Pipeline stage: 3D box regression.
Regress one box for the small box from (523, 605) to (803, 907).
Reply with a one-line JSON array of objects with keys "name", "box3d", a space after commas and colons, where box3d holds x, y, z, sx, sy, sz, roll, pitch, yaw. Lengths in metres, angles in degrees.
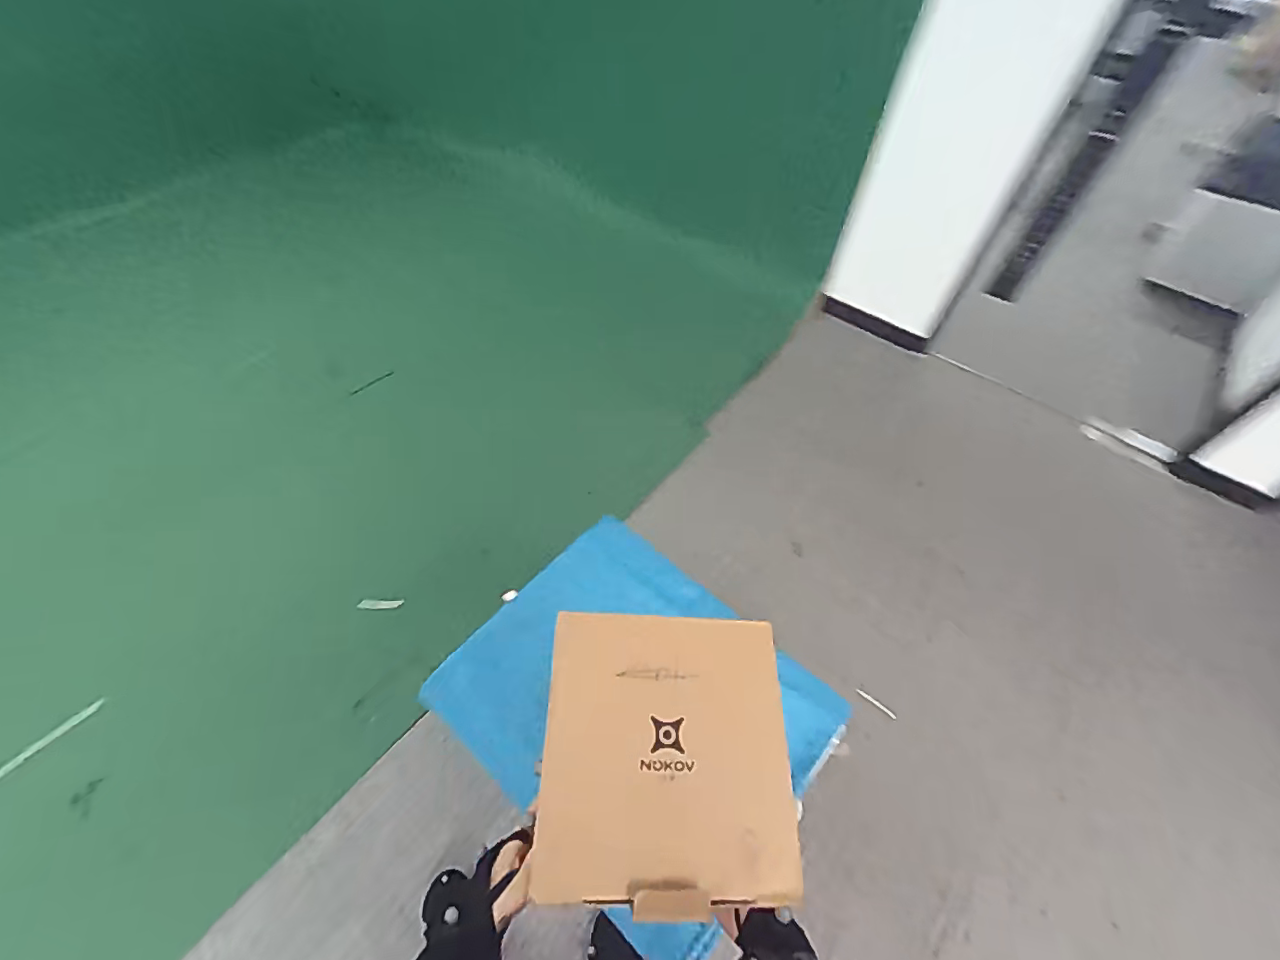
[{"name": "small box", "box3d": [0.007, 0.213, 0.420, 0.168, 0.176, 0.179, 4, 55, -6]}]
